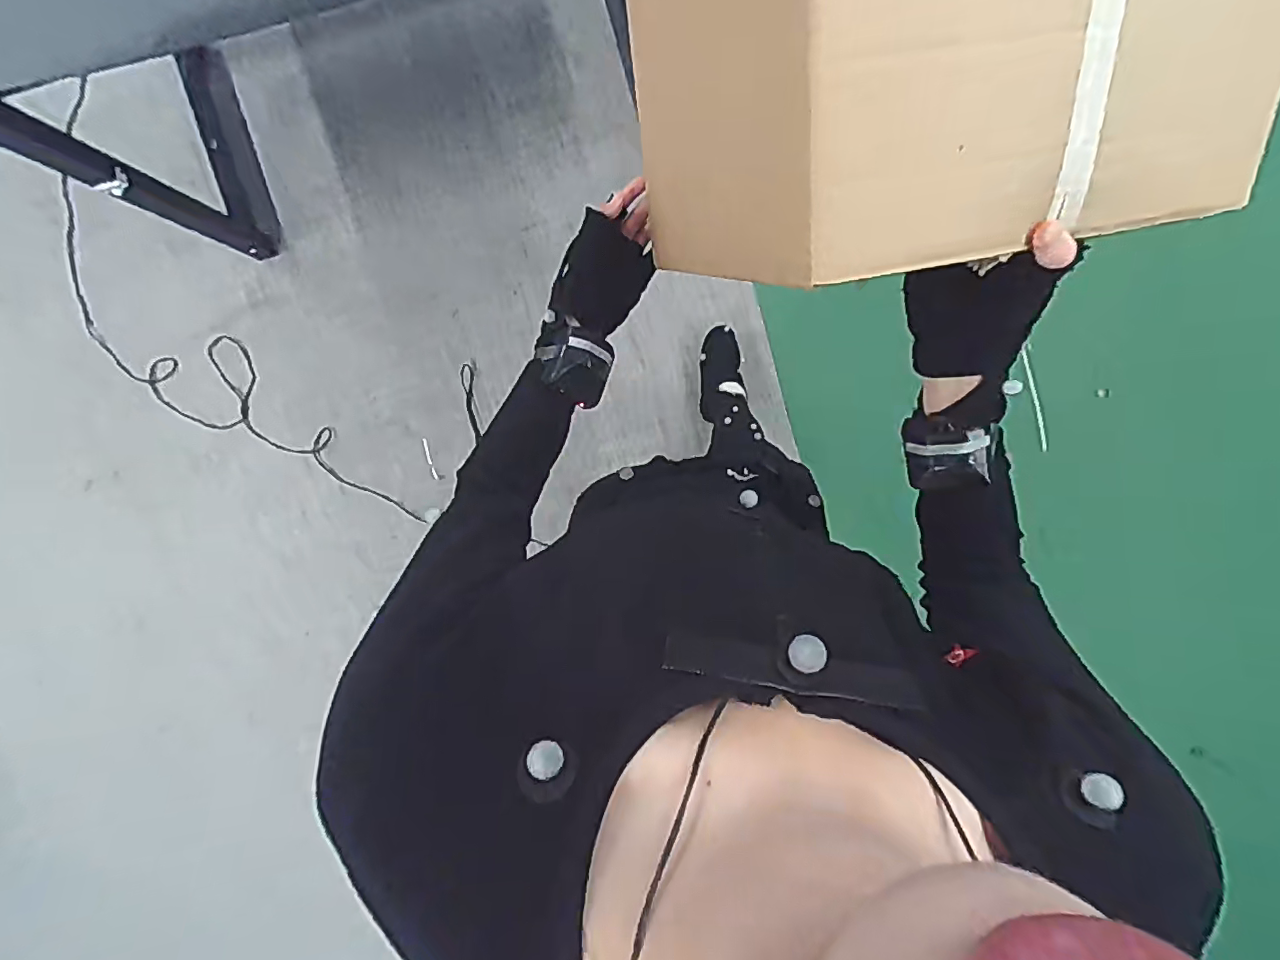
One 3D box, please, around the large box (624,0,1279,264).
[{"bbox_3d":[0.165,-0.386,0.370,0.320,0.320,0.408,-13,114,-10],"label":"large box"}]
